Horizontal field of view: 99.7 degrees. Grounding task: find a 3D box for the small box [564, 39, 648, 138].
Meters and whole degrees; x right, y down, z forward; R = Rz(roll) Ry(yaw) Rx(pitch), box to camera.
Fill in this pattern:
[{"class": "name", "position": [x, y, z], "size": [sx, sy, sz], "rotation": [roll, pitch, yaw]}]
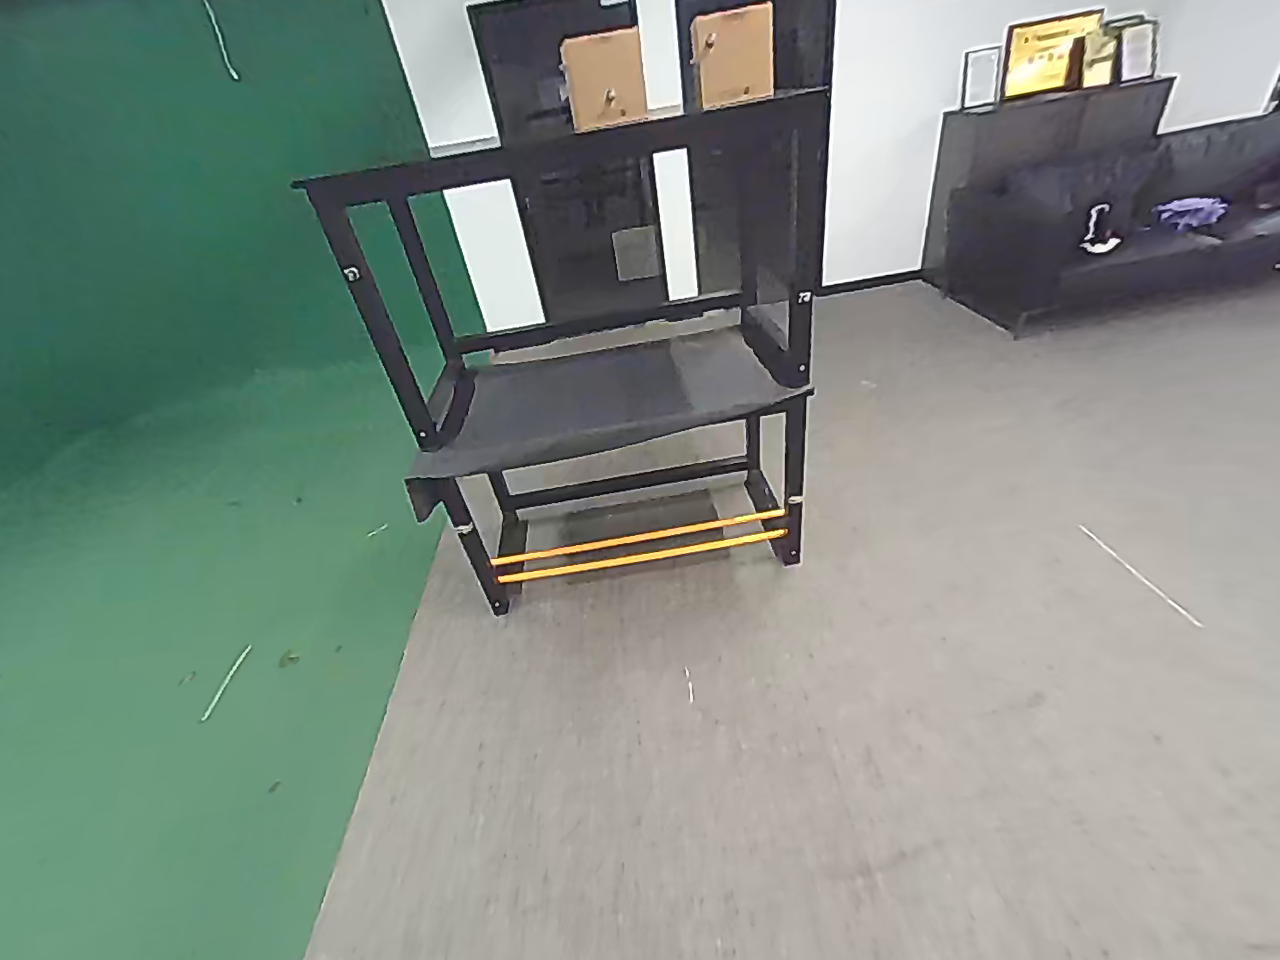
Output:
[{"class": "small box", "position": [-0.082, -0.935, 1.302], "size": [0.168, 0.176, 0.179], "rotation": [-13, 35, -3]}]
